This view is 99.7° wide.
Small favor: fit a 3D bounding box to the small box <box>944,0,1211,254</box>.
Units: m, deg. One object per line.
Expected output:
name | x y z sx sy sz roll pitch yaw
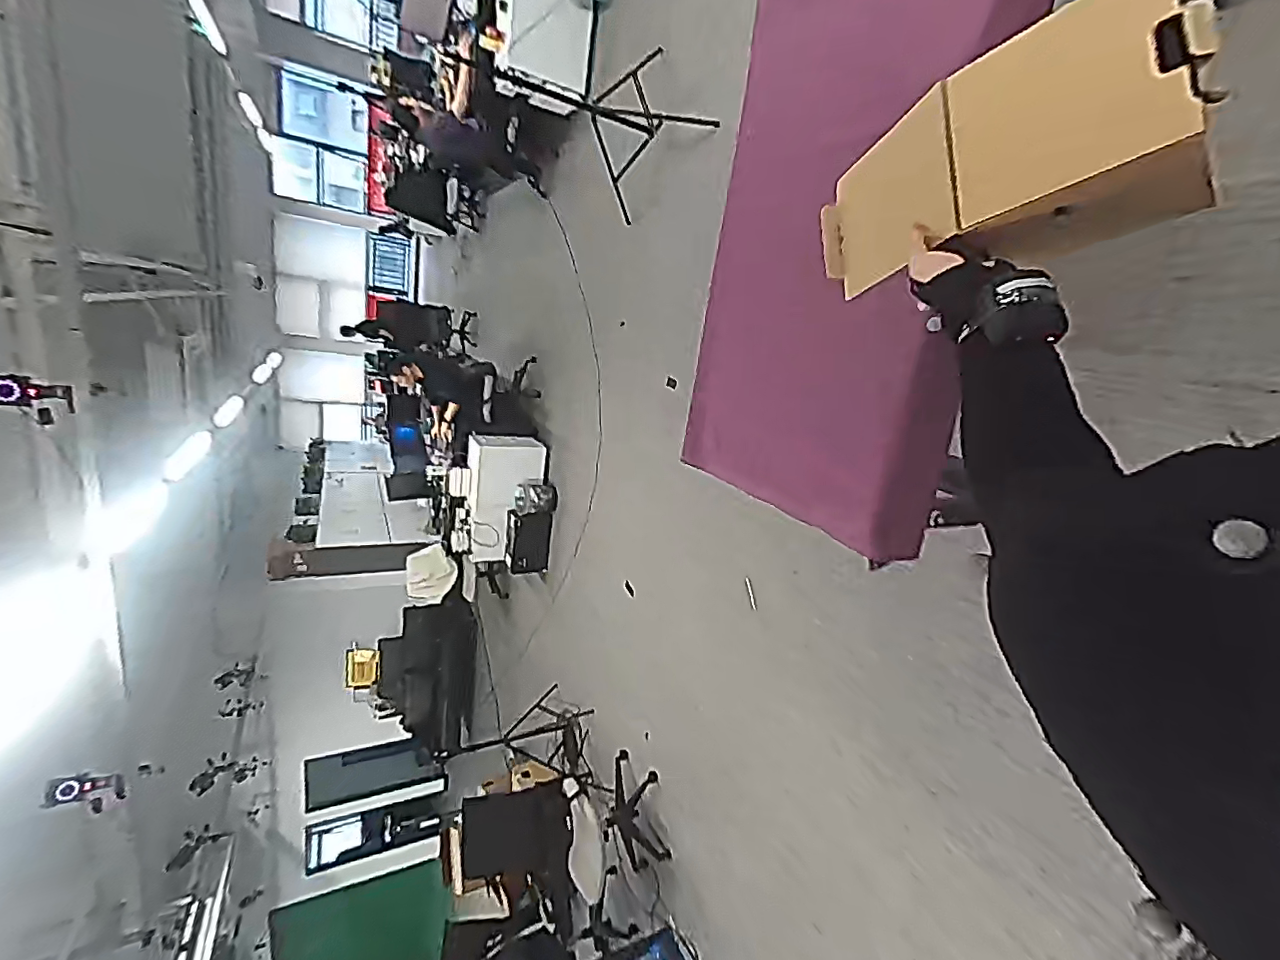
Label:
small box | 0.431 -0.347 0.537 0.179 0.176 0.168 -4 89 49
